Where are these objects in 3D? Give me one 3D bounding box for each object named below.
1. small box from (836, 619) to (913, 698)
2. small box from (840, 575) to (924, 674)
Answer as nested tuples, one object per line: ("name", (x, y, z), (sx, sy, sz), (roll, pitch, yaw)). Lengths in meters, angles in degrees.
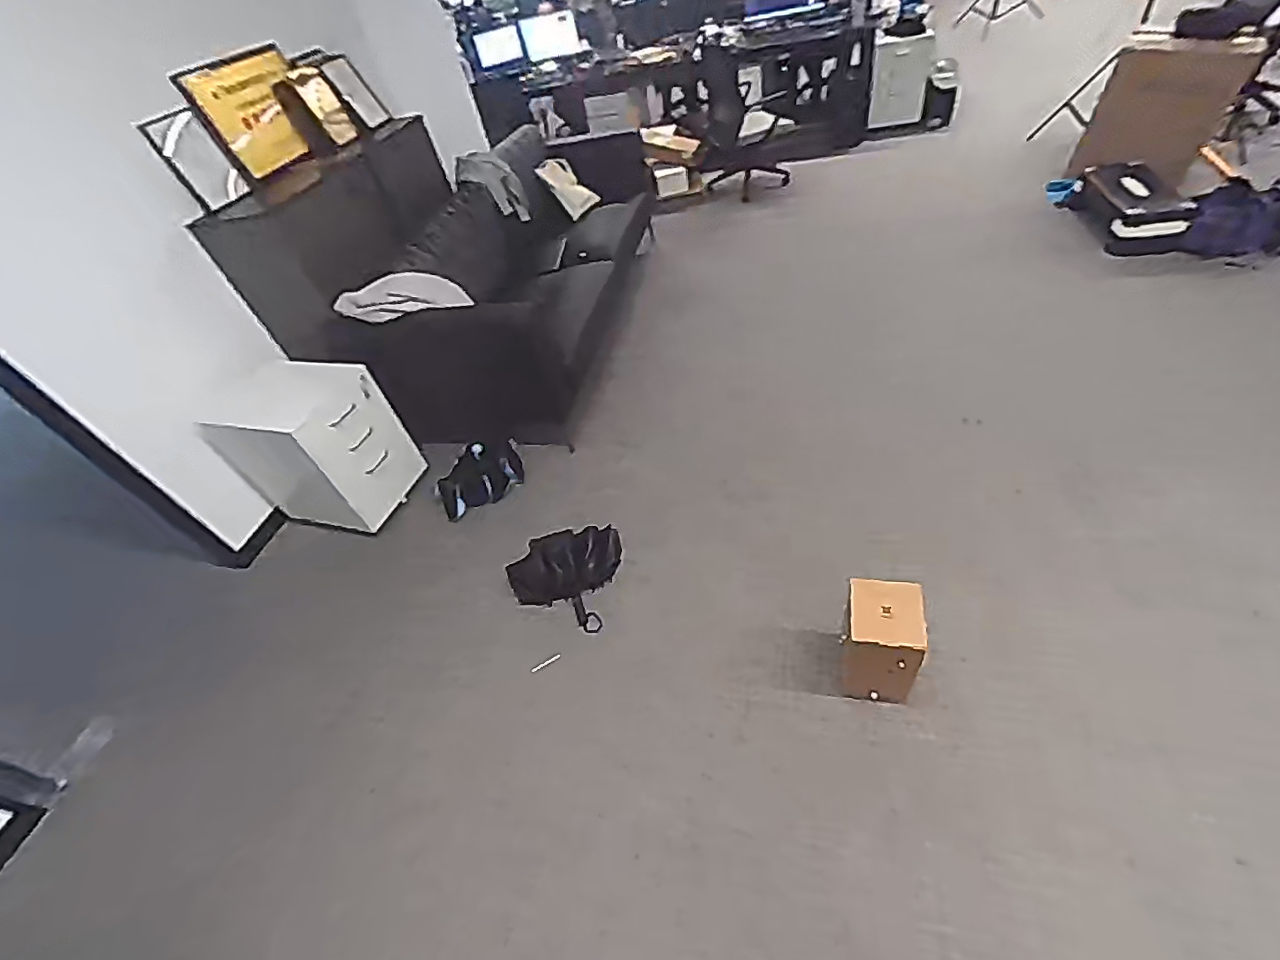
("small box", (0.629, 0.467, 1.469), (0.168, 0.176, 0.179), (1, 49, 16))
("small box", (0.597, 0.363, 1.349), (0.168, 0.176, 0.179), (3, 48, 16))
